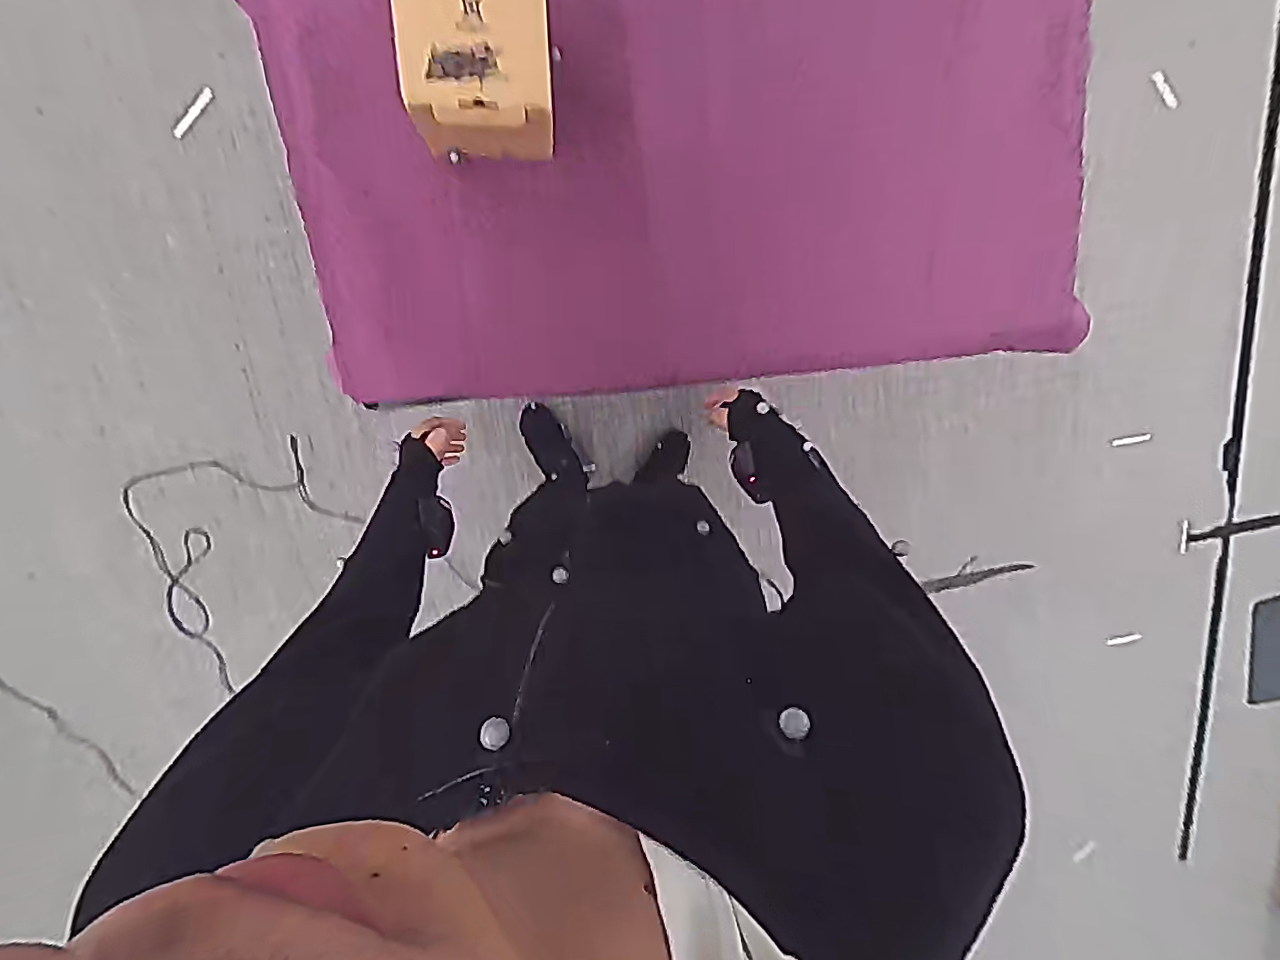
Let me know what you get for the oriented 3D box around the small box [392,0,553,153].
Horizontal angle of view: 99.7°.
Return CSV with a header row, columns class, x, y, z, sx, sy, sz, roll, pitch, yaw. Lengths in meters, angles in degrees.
class,x,y,z,sx,sy,sz,roll,pitch,yaw
small box,-0.193,-0.520,0.659,0.168,0.176,0.179,-4,104,-9
